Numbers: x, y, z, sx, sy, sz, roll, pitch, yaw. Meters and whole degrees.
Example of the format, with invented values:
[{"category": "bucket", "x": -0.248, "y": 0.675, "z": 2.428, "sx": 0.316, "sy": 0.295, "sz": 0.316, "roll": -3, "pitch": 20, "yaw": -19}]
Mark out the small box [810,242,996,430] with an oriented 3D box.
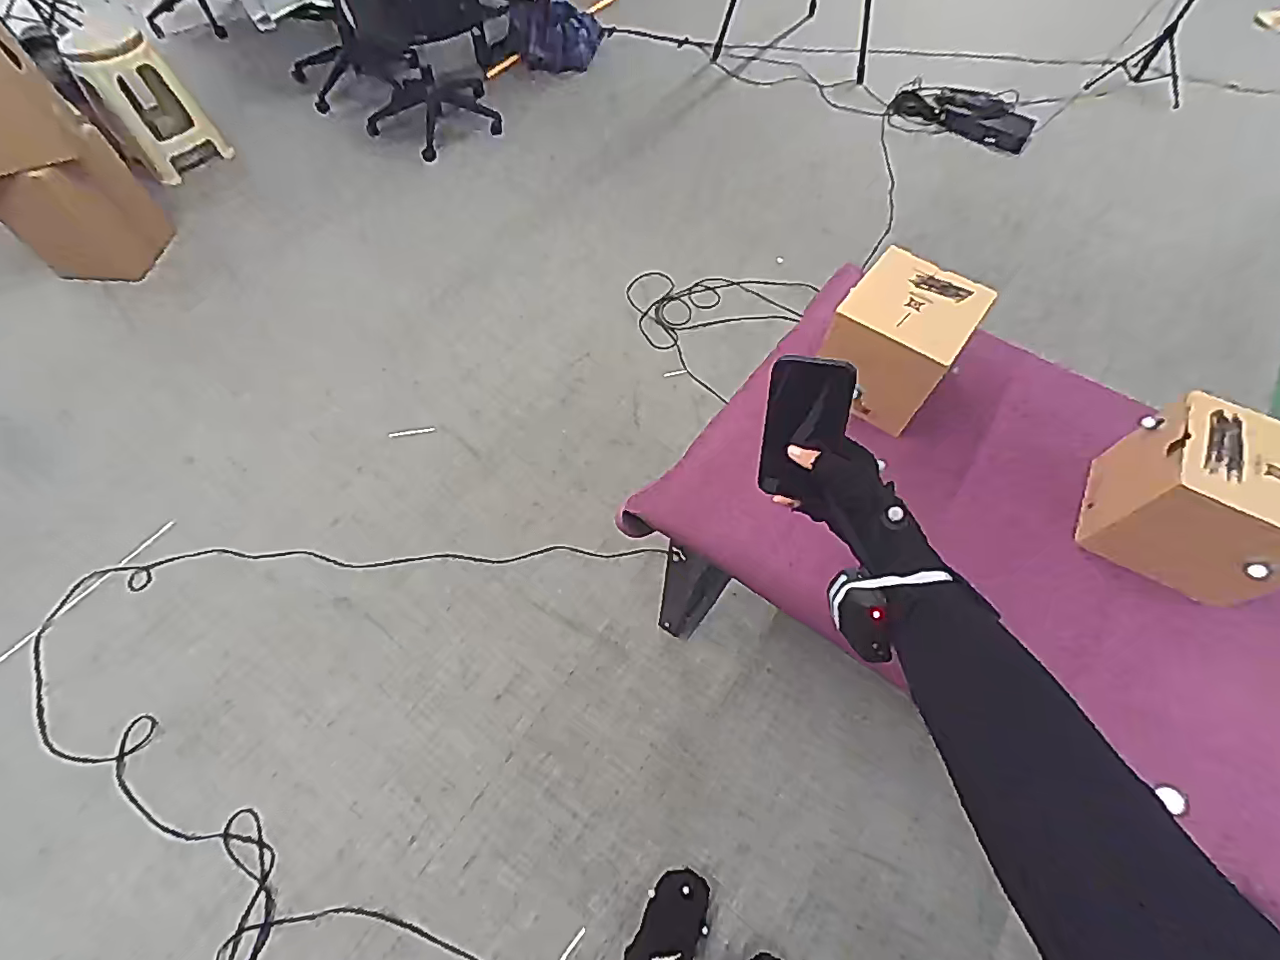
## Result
[{"category": "small box", "x": 0.381, "y": -0.212, "z": 0.814, "sx": 0.168, "sy": 0.176, "sz": 0.179, "roll": 35, "pitch": 67, "yaw": 18}]
